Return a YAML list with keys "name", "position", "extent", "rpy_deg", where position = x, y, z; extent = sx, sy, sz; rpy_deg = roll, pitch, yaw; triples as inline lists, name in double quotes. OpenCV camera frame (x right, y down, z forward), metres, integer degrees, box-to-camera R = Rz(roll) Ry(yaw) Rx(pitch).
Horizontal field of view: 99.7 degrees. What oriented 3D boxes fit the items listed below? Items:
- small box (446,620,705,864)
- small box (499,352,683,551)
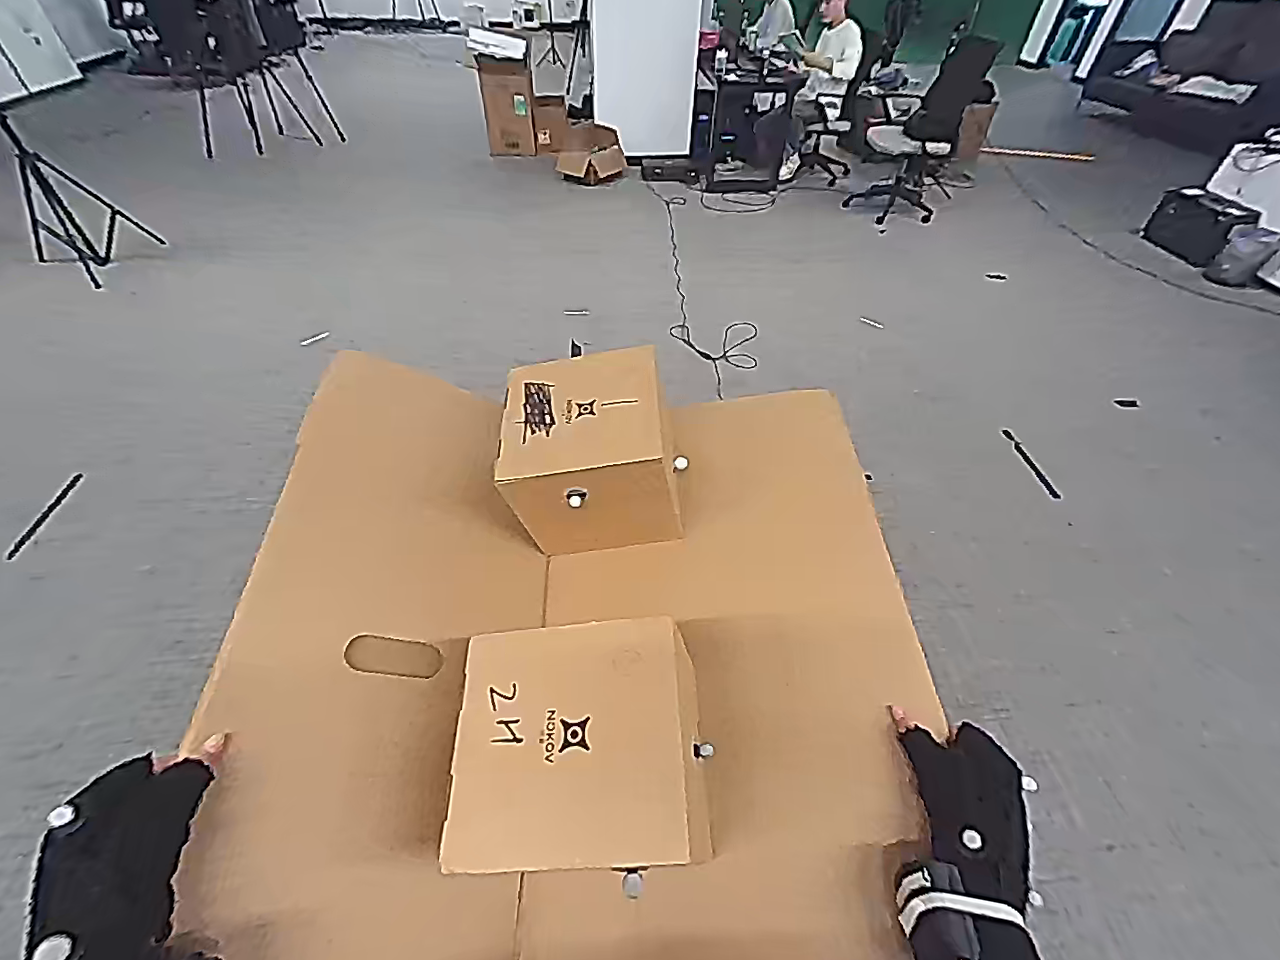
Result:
- name: "small box"
  position: [-0.038, 0.235, 0.476]
  extent: [0.179, 0.176, 0.168]
  rpy_deg: [-7, 55, 9]
- name: "small box"
  position: [-0.049, -0.026, 0.657]
  extent: [0.179, 0.176, 0.168]
  rpy_deg: [-7, 55, 7]
